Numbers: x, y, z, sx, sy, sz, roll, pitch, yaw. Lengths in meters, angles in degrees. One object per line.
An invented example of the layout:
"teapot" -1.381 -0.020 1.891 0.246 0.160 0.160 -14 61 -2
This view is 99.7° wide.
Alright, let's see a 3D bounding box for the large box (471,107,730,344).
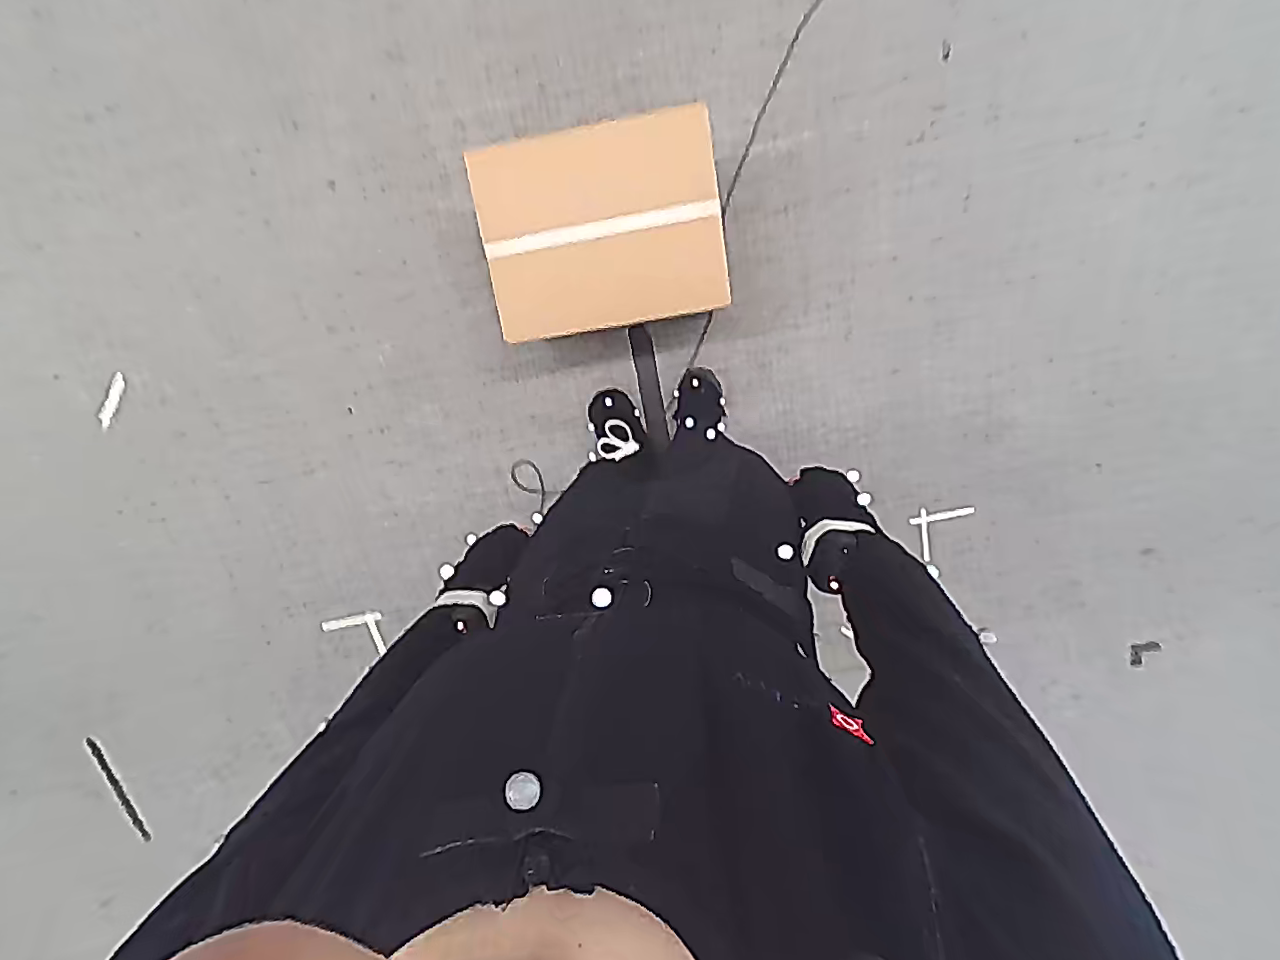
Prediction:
"large box" -0.057 -0.461 1.061 0.408 0.320 0.320 -8 106 5
